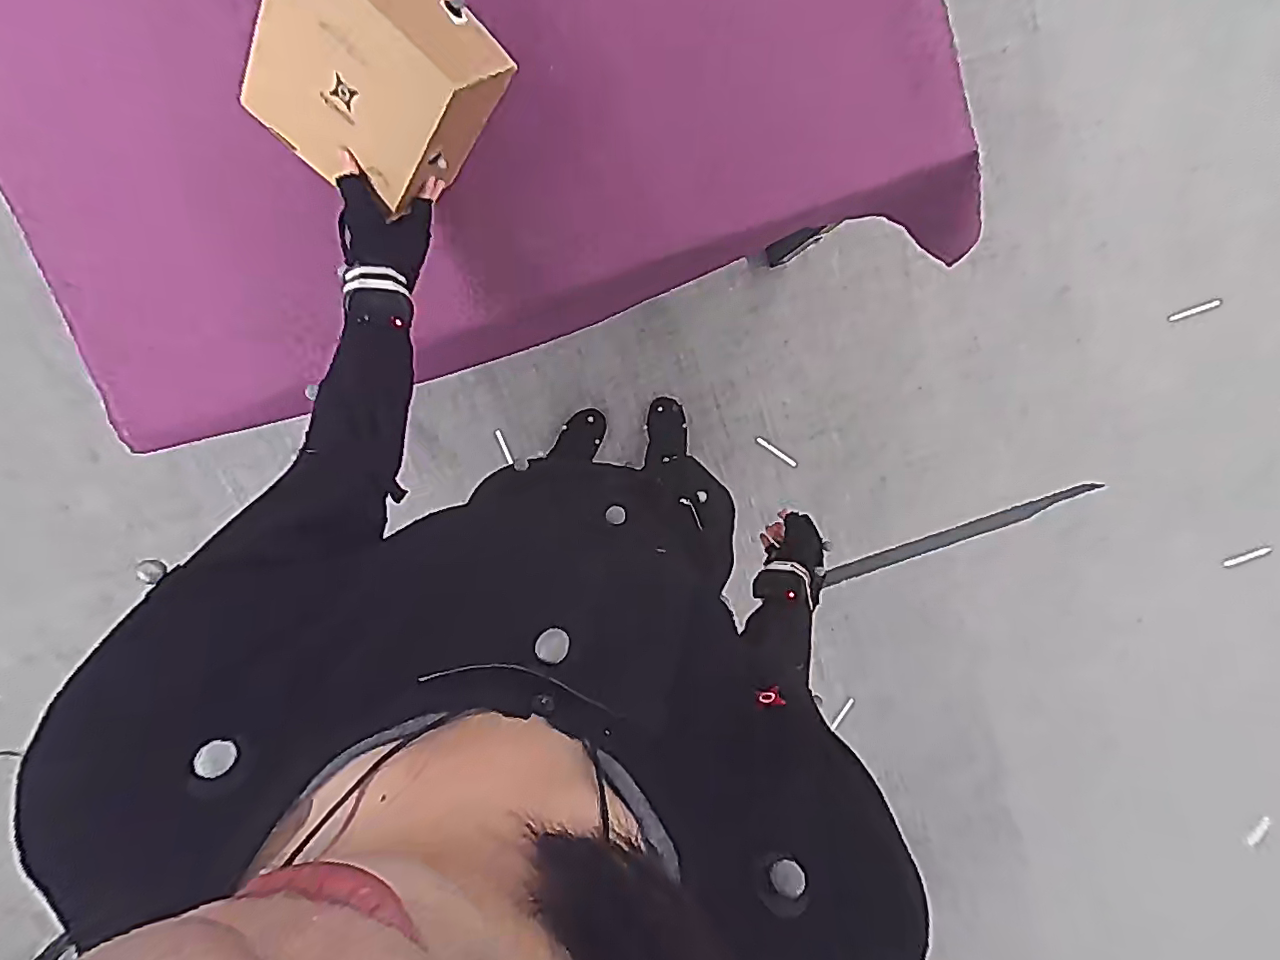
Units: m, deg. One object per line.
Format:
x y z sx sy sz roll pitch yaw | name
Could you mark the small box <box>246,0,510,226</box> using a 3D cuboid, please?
-0.265 -0.417 0.571 0.168 0.176 0.179 37 133 -21 | small box
